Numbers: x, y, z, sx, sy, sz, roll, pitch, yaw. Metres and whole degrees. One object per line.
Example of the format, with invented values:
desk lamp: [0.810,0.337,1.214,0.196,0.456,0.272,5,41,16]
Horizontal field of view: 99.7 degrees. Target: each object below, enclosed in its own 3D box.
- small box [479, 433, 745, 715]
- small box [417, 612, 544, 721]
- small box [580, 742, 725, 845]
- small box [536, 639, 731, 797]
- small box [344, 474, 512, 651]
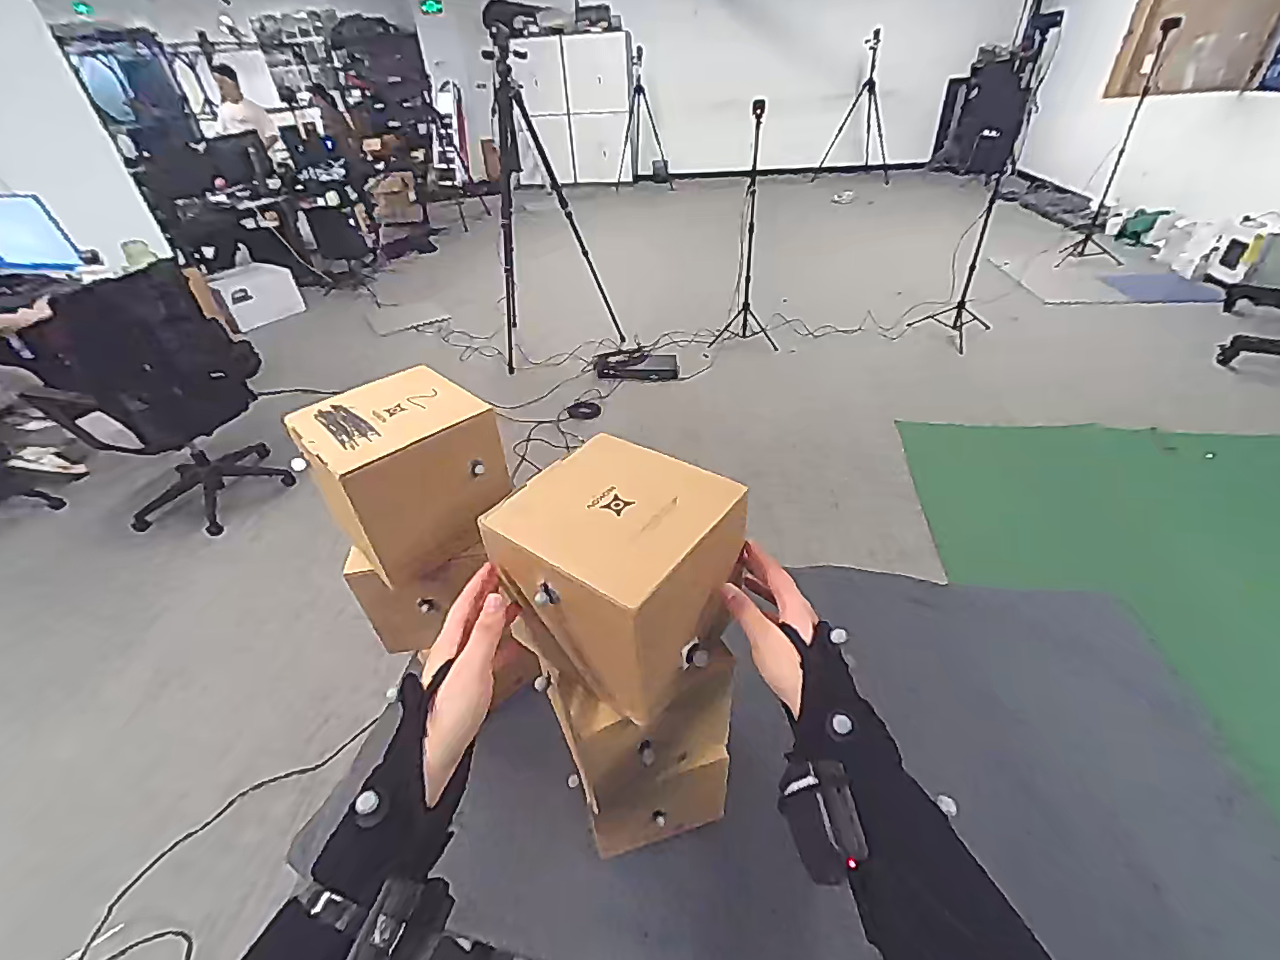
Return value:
small box: [-0.019,0.084,0.514,0.179,0.176,0.168,23,46,31]
small box: [-0.266,0.243,0.867,0.168,0.176,0.179,-30,45,-29]
small box: [0.004,0.343,0.708,0.168,0.176,0.179,-12,38,-11]
small box: [-0.013,0.219,0.606,0.168,0.176,0.179,-20,39,-19]
small box: [-0.276,0.116,0.762,0.179,0.176,0.168,-9,39,-5]
